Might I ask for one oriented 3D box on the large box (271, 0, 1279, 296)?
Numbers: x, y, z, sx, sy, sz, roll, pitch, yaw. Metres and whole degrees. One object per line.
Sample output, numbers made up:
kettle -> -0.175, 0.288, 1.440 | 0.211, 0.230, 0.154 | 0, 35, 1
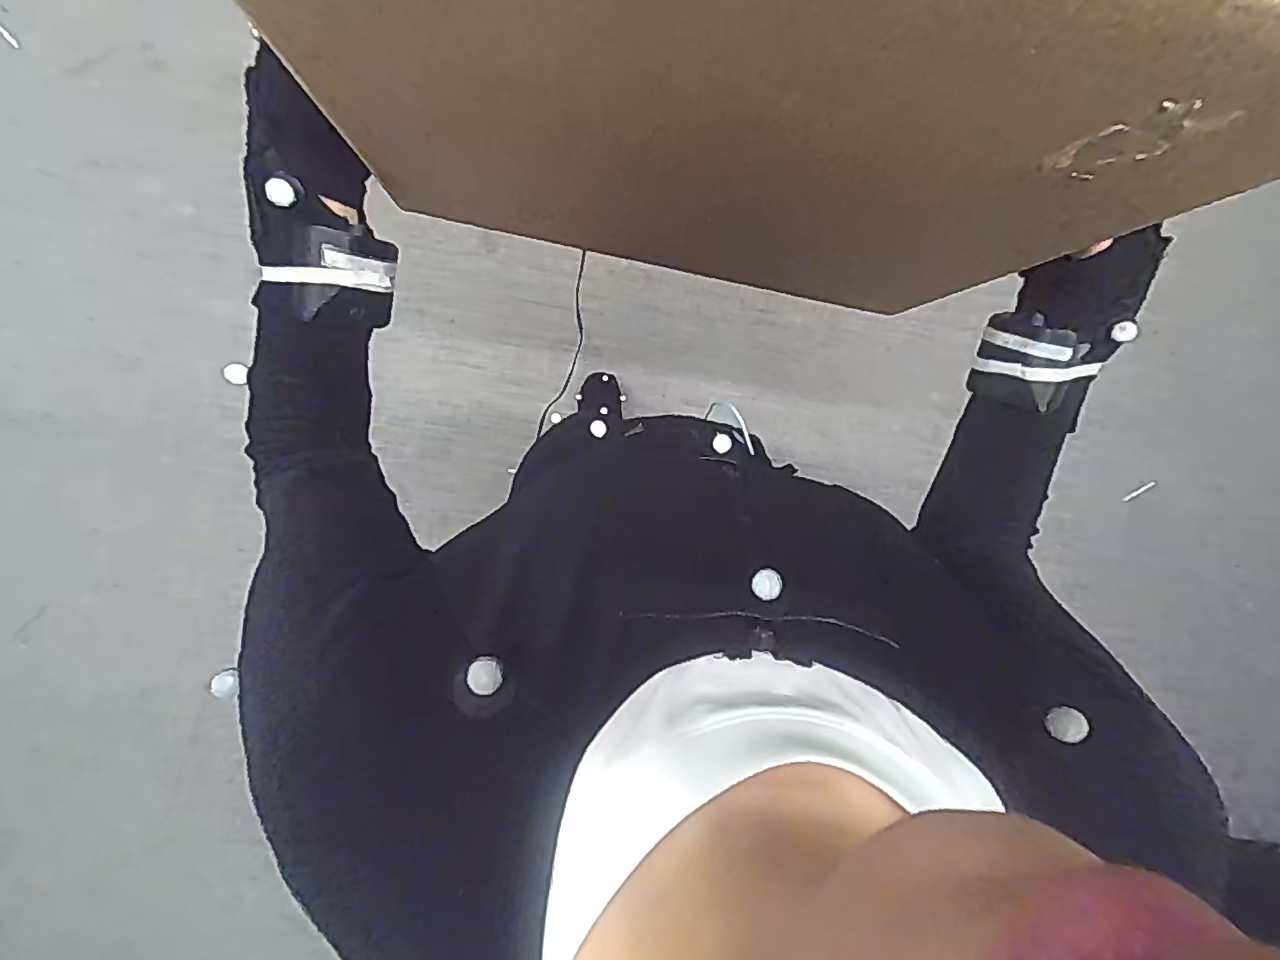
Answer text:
large box -> 0.060, -0.314, 0.268 | 0.408, 0.320, 0.320 | 9, 95, -9
